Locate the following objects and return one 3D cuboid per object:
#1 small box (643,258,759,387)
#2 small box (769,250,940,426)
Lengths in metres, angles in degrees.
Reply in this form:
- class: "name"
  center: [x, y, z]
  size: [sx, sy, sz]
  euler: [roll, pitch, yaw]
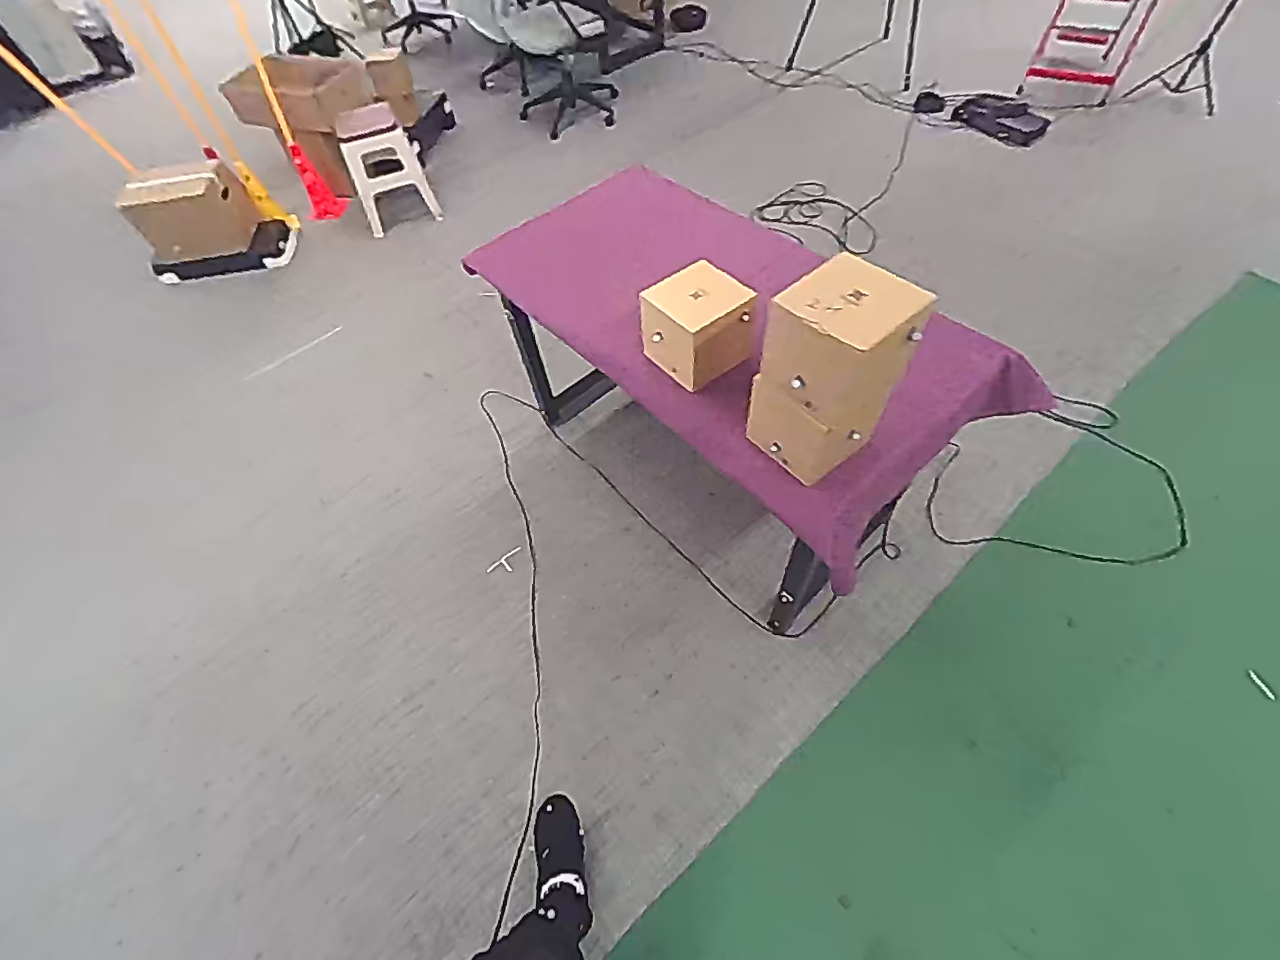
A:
- class: "small box"
  center: [0.127, -0.328, 1.145]
  size: [0.179, 0.176, 0.168]
  euler: [-34, 60, -18]
- class: "small box"
  center: [0.322, -0.221, 0.853]
  size: [0.179, 0.176, 0.168]
  euler: [-36, 59, -18]
